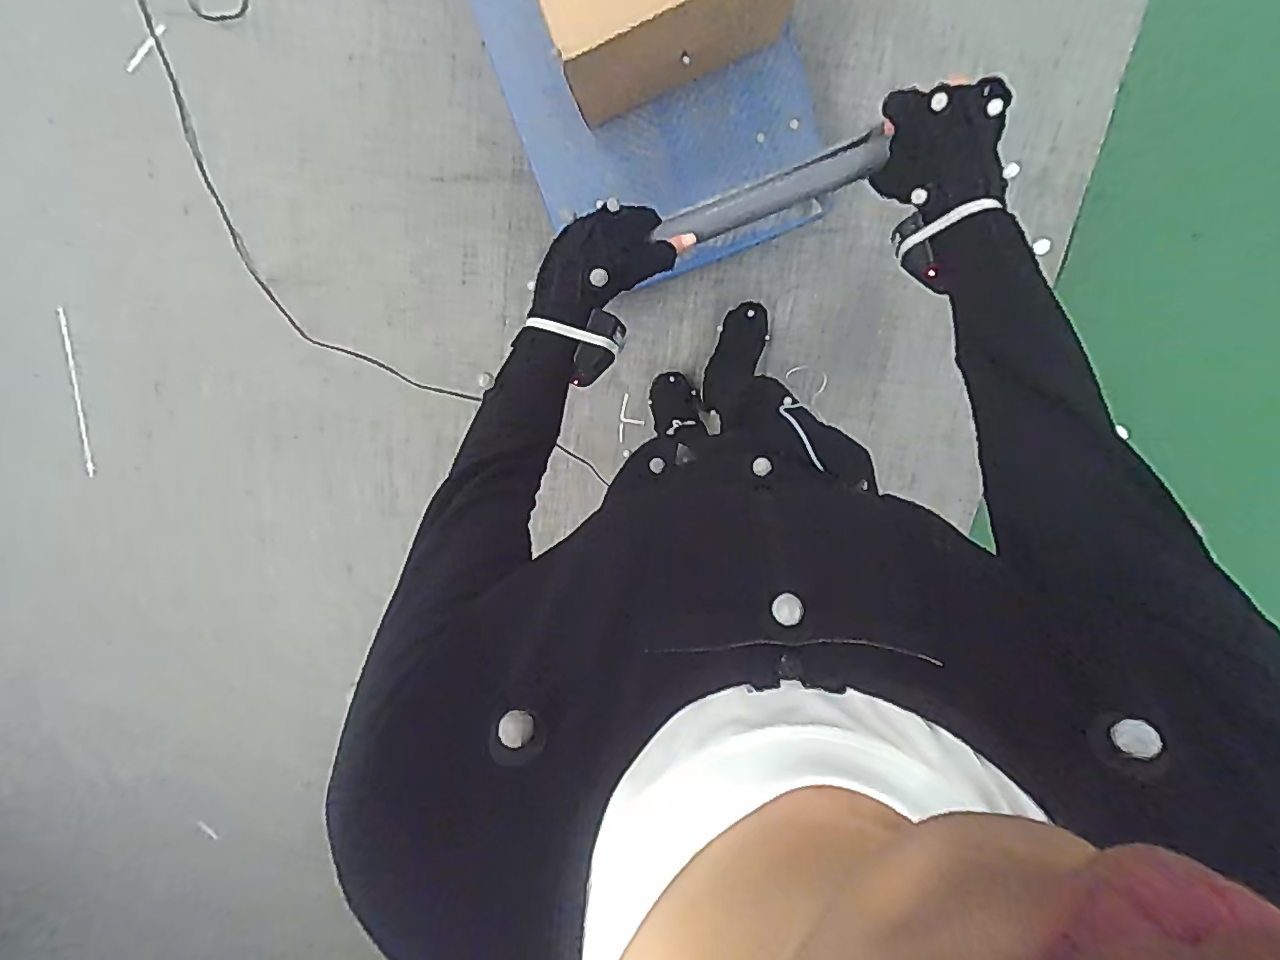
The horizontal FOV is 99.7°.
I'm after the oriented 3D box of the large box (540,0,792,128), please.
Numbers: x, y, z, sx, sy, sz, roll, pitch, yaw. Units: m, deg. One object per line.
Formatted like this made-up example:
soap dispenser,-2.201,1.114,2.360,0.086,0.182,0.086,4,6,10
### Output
large box,0.024,-0.885,0.912,0.408,0.320,0.320,-20,103,10
